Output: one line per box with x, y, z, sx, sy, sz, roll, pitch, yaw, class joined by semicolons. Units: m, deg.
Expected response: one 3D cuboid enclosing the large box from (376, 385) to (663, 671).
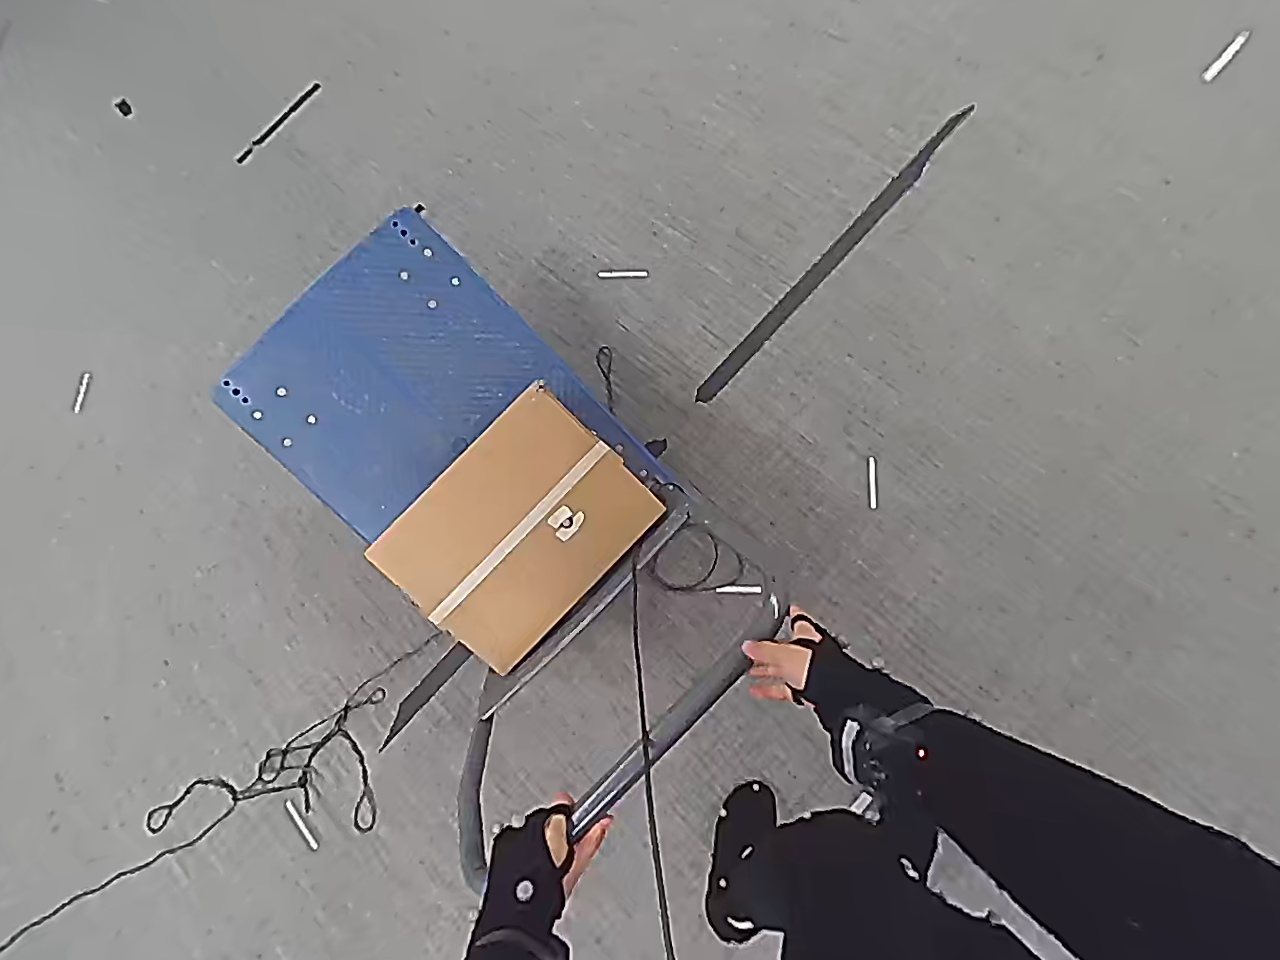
-0.217;0.079;1.068;0.320;0.320;0.408;44;87;-8;large box
